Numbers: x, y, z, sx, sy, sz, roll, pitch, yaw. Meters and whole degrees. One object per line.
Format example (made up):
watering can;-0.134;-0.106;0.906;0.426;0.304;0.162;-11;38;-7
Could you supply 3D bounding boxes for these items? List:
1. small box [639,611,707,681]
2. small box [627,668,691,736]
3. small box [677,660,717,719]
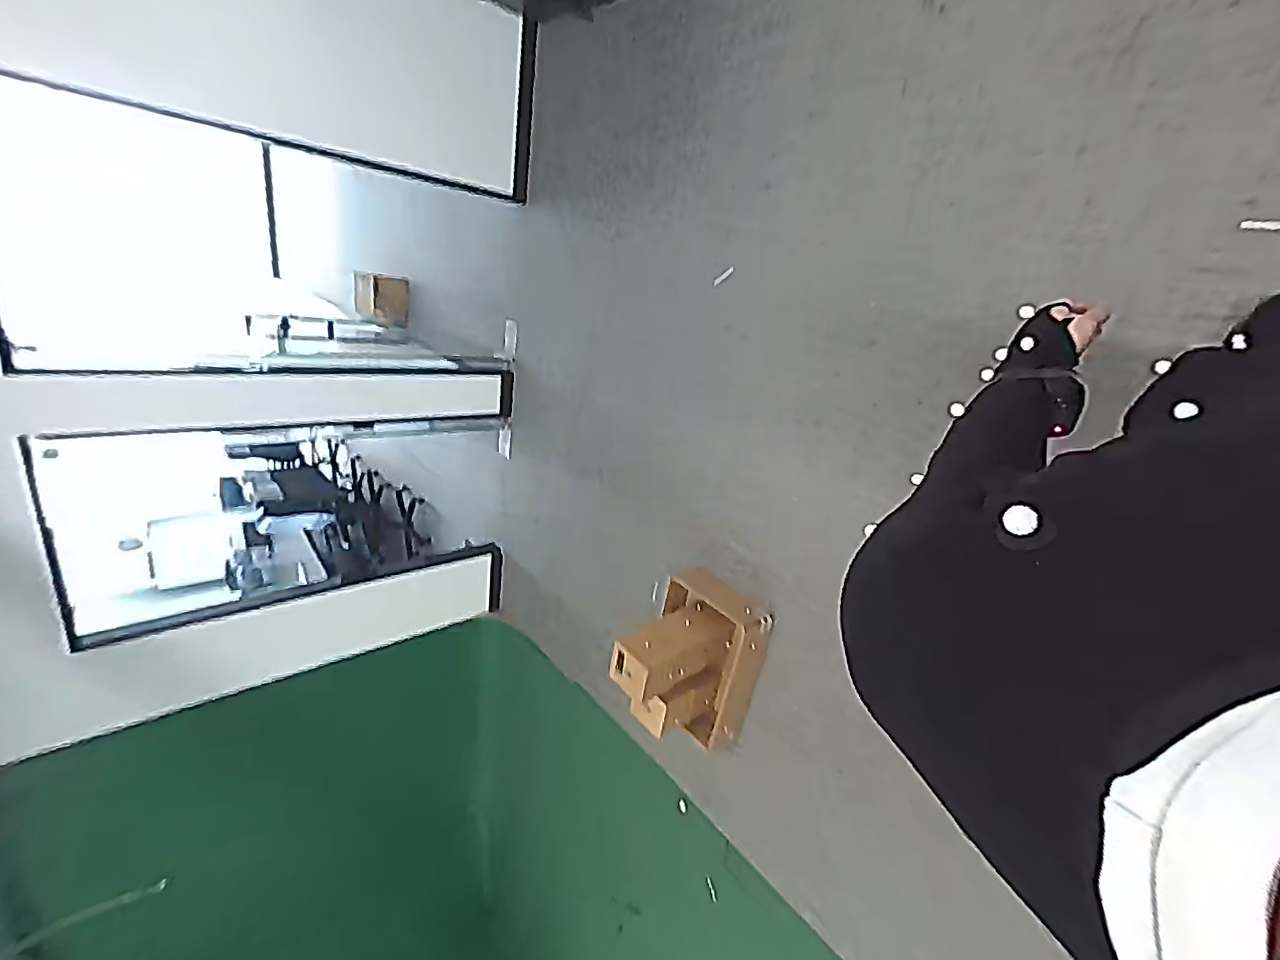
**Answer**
small box;0.123;0.616;2.039;0.179;0.176;0.168;29;120;41
small box;0.077;0.858;2.134;0.179;0.176;0.168;28;117;42
small box;0.193;0.842;2.244;0.179;0.176;0.168;29;117;41
